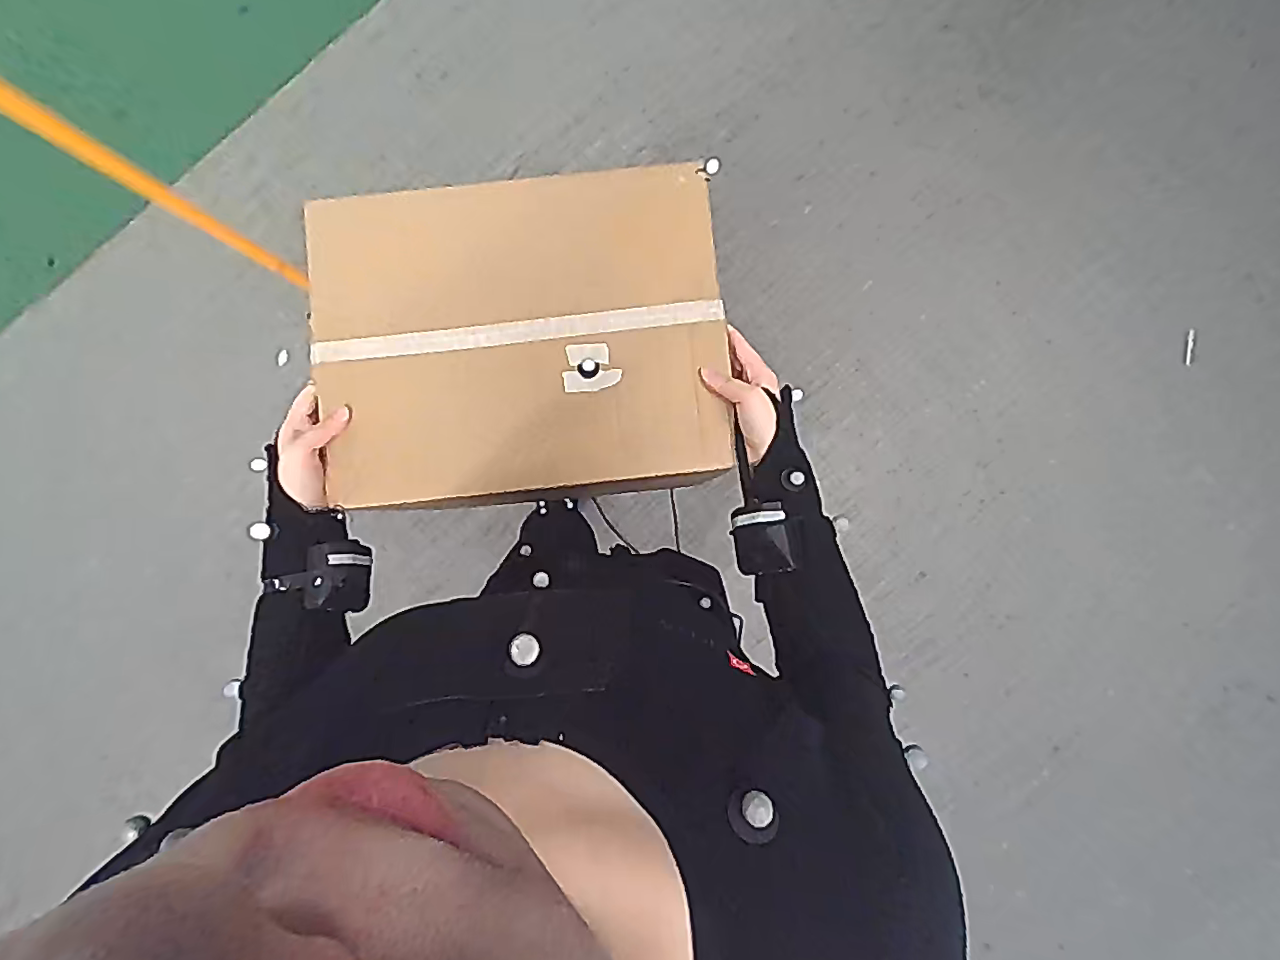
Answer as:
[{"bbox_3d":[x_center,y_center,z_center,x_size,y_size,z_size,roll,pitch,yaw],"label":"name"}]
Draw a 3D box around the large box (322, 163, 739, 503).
[{"bbox_3d":[-0.116,-0.146,0.692,0.408,0.320,0.320,-5,87,-2],"label":"large box"}]
